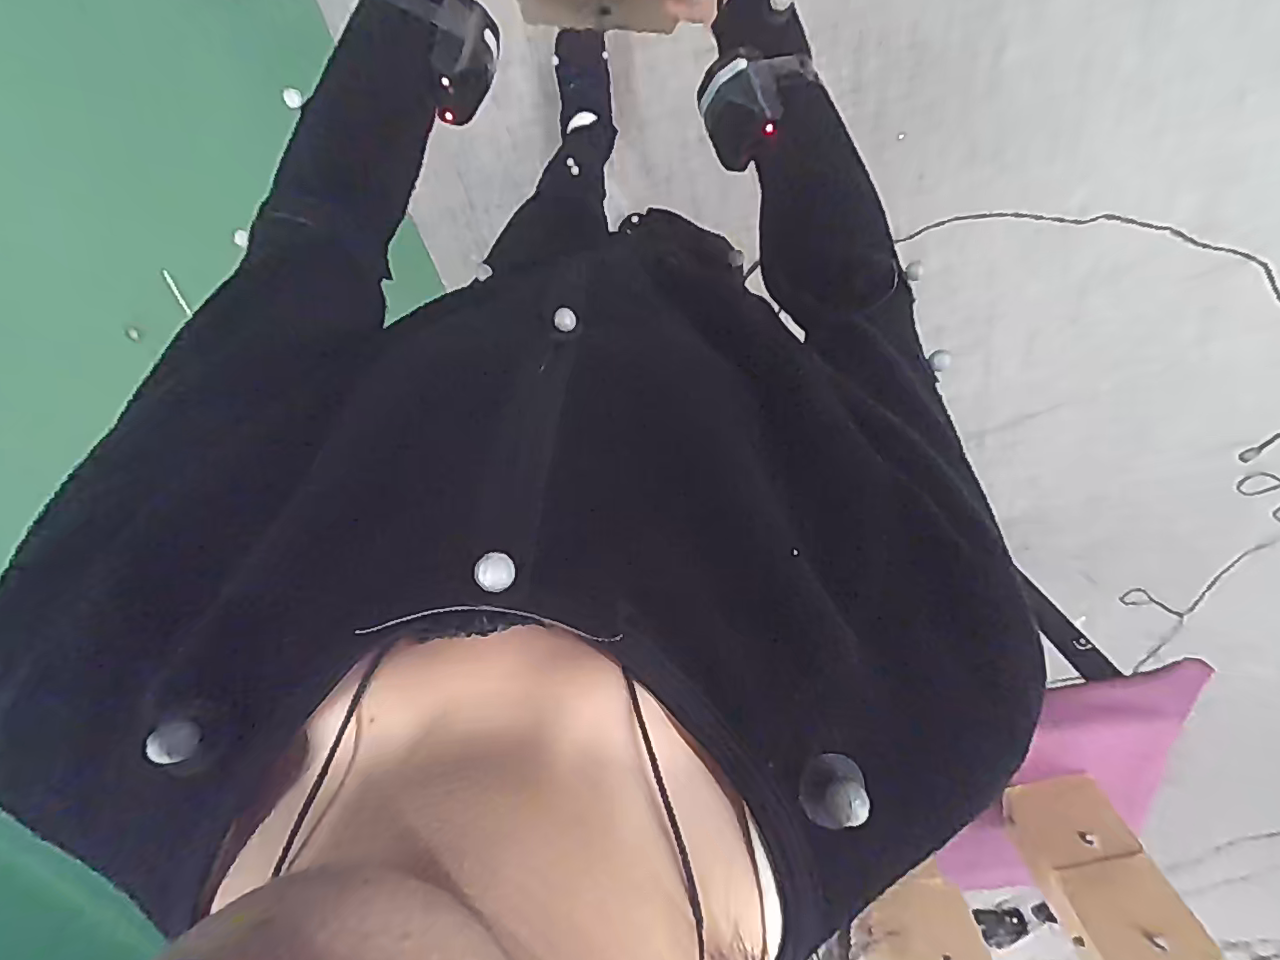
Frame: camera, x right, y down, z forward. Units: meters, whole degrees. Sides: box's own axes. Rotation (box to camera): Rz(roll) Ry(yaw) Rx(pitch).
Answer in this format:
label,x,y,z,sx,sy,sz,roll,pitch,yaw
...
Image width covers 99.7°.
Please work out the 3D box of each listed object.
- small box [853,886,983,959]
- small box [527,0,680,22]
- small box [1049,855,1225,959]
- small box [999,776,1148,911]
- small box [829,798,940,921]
label,x,y,z,sx,sy,sz,roll,pitch,yaw
small box,0.522,0.888,1.005,0.179,0.176,0.168,-1,119,1
small box,-0.033,-0.535,0.477,0.168,0.176,0.179,-1,120,-7
small box,0.875,0.818,0.973,0.179,0.176,0.168,-19,116,9
small box,0.881,0.743,1.116,0.179,0.176,0.168,-16,117,9
small box,0.512,0.814,1.152,0.168,0.176,0.179,-11,118,5
